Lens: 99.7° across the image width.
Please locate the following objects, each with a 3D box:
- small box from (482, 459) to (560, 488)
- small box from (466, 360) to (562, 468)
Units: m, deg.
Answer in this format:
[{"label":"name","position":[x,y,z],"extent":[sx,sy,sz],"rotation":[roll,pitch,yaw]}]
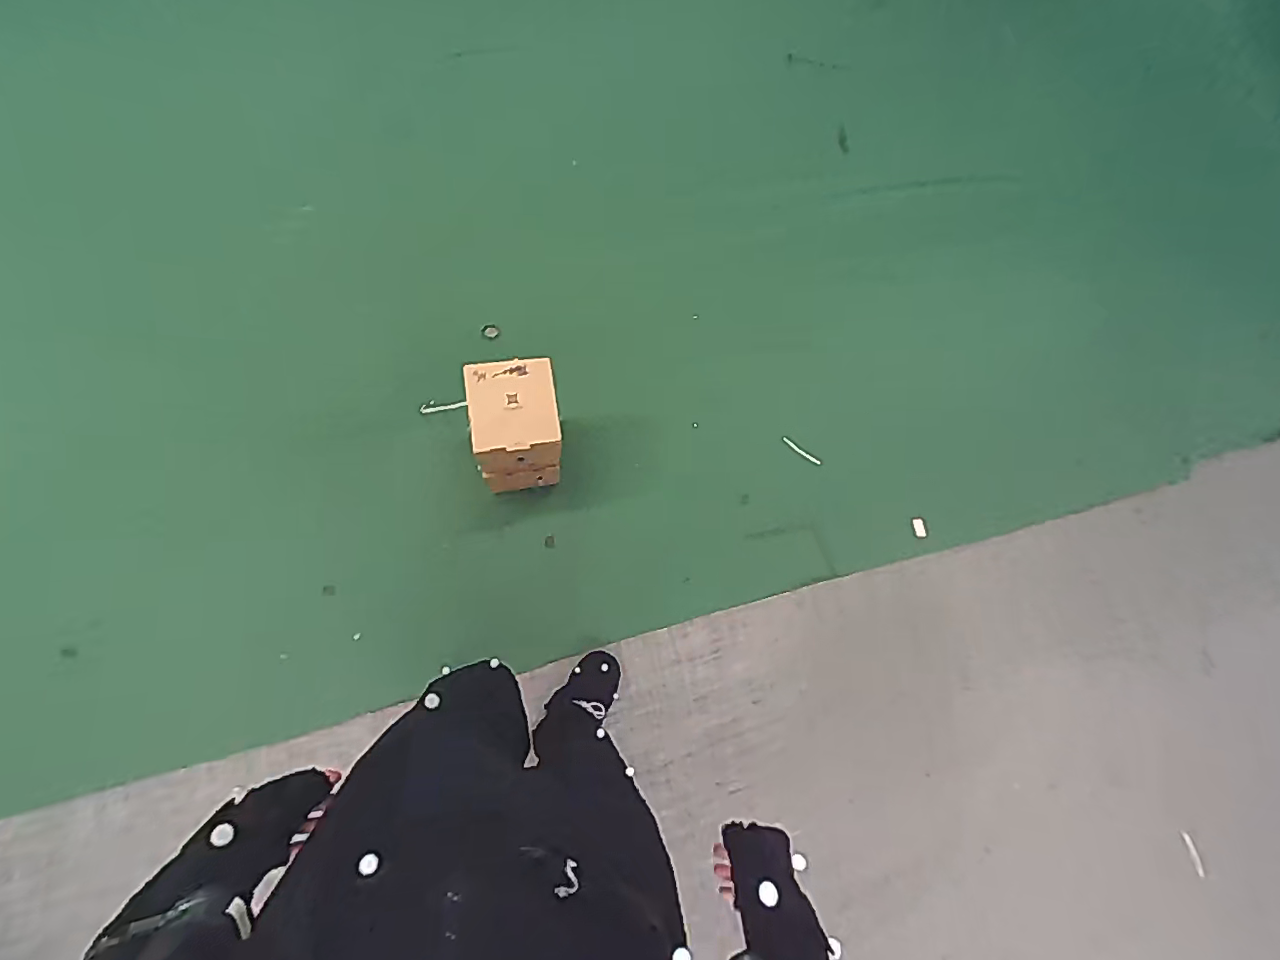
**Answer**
[{"label":"small box","position":[-0.273,-0.084,1.238],"extent":[0.168,0.176,0.179],"rotation":[-6,78,-12]},{"label":"small box","position":[-0.250,-0.125,1.100],"extent":[0.168,0.176,0.179],"rotation":[-7,80,-11]}]
